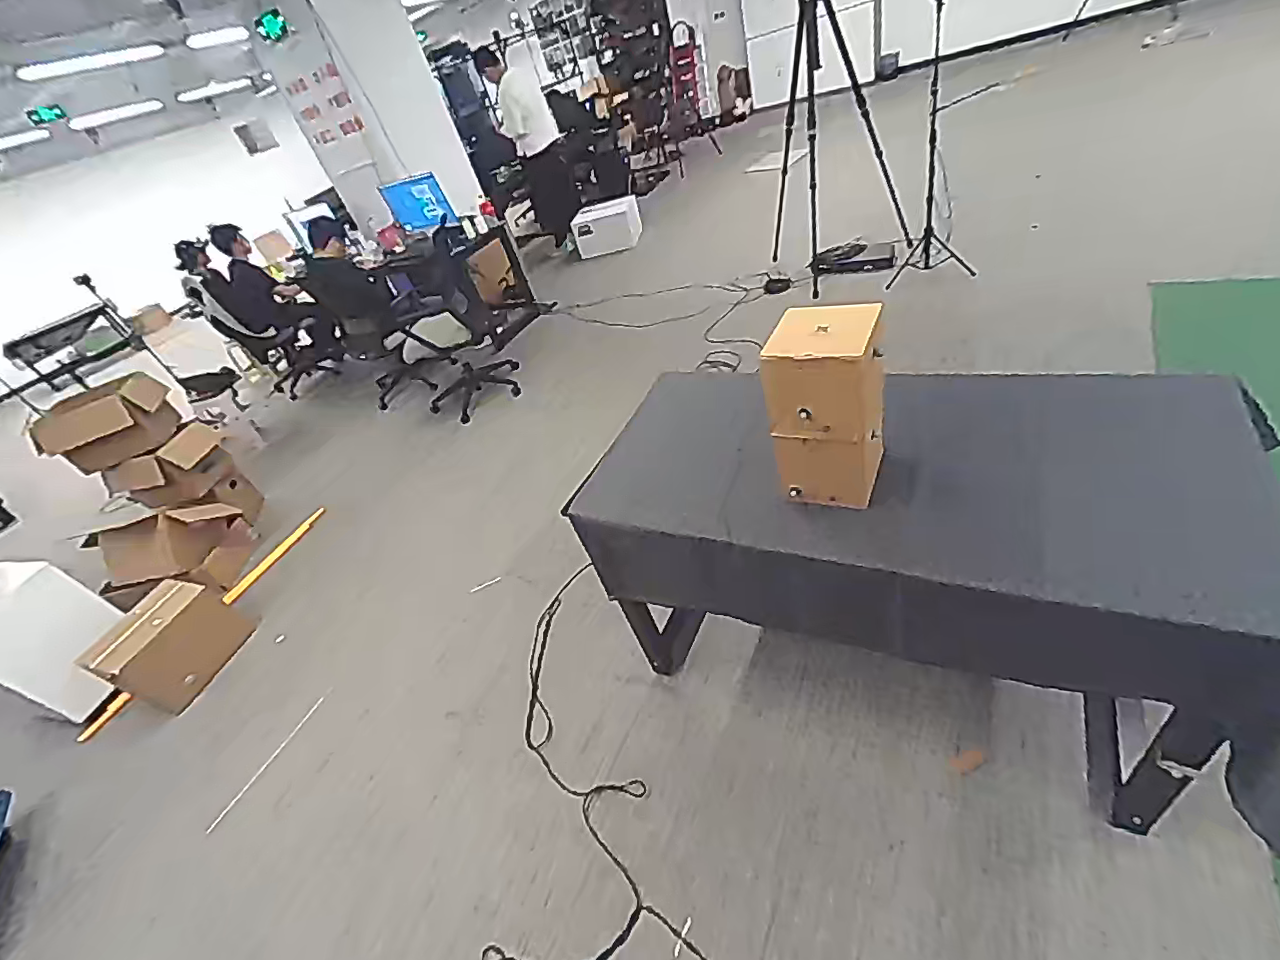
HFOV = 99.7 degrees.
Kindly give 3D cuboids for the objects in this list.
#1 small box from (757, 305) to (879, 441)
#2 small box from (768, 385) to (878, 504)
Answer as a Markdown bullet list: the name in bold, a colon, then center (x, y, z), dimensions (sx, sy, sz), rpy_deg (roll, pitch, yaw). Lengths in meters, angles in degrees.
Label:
- **small box**: center (0.322, -0.192, 0.963), dimensions (0.168, 0.176, 0.179), rpy_deg (7, 46, 31)
- **small box**: center (0.367, -0.073, 1.064), dimensions (0.168, 0.176, 0.179), rpy_deg (7, 45, 31)
